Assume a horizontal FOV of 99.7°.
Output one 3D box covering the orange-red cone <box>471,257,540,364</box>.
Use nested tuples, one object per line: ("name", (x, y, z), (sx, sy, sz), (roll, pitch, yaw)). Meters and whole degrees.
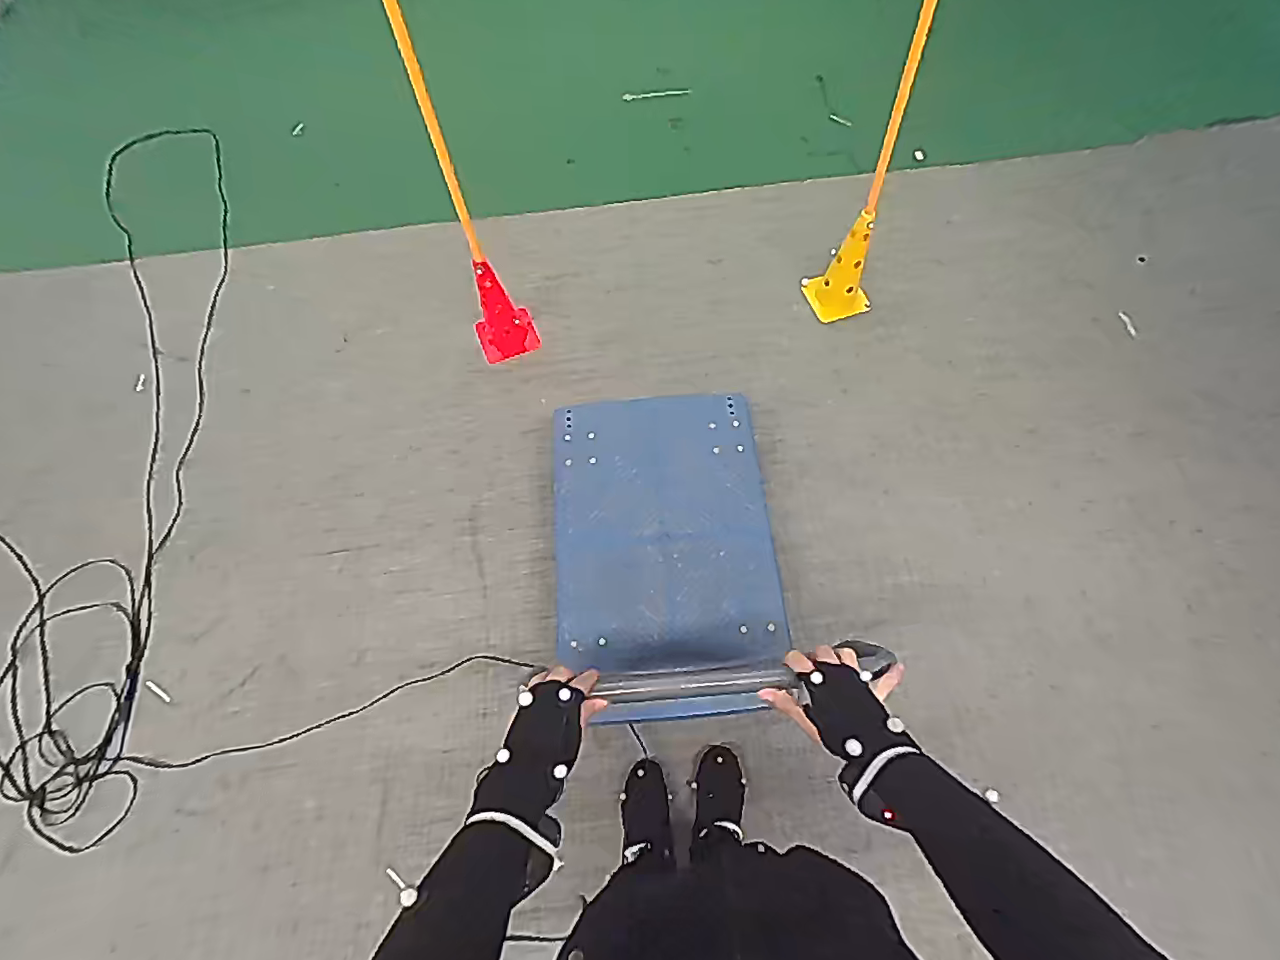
("orange-red cone", (-0.478, -0.579, 1.766), (0.199, 0.360, 0.198), (-21, 67, -6))
